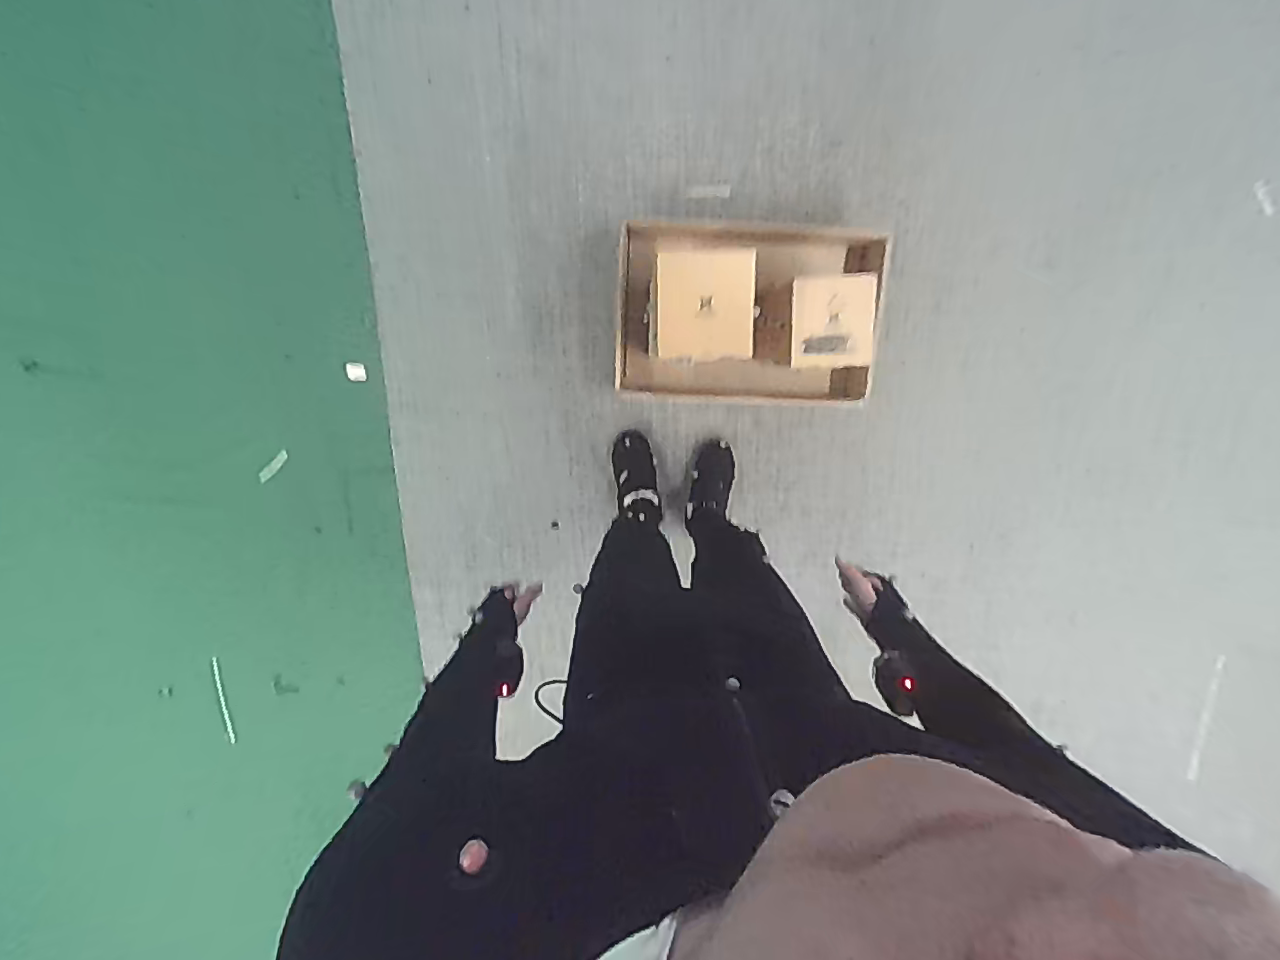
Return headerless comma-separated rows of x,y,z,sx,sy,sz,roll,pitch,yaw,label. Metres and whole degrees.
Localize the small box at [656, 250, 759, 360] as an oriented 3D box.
0.115,-0.310,0.984,0.168,0.176,0.179,-1,104,0,small box
